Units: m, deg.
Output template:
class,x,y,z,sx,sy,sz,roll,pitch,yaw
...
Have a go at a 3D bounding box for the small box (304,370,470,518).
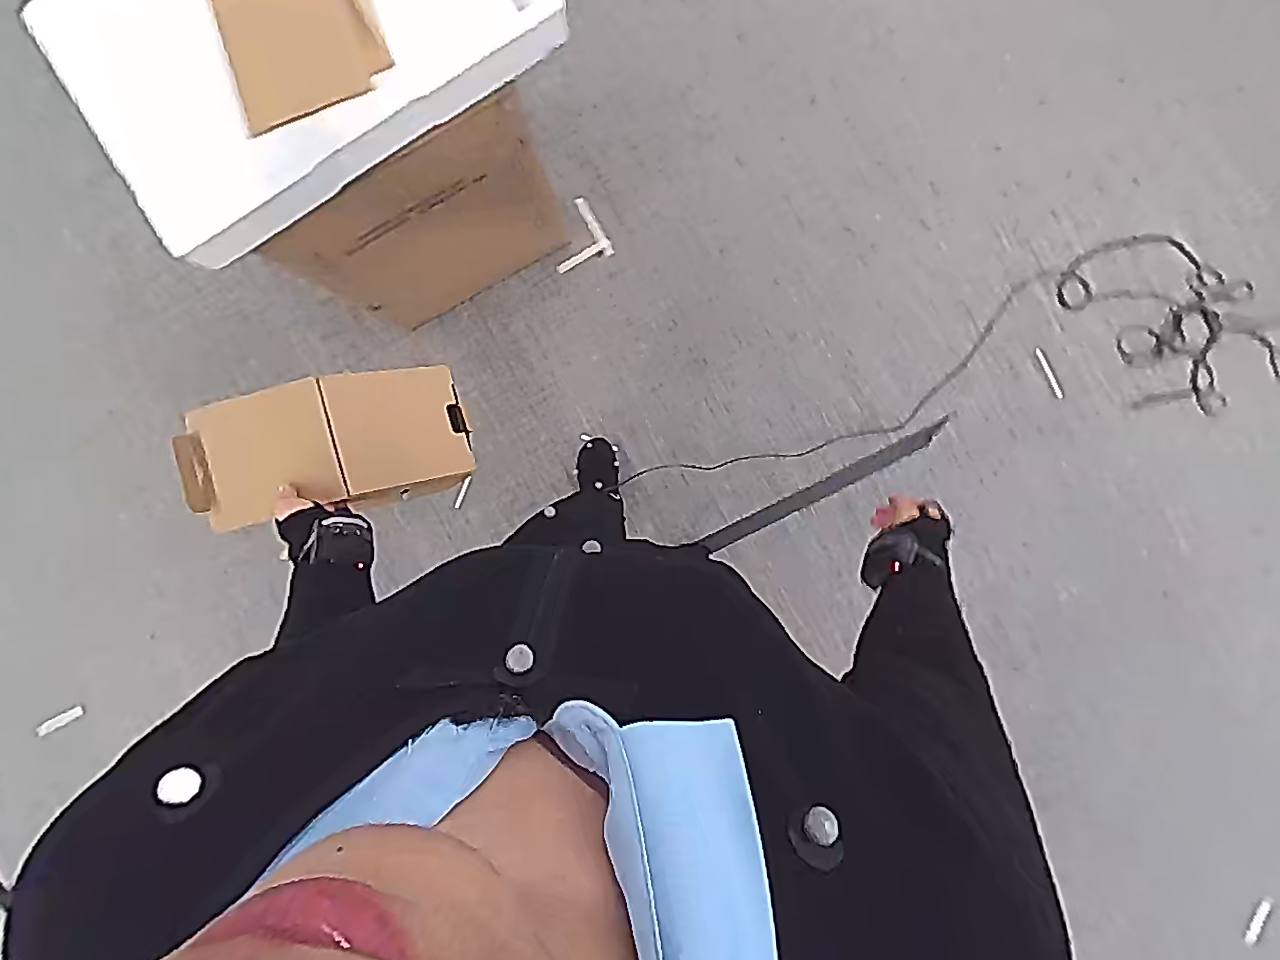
class,x,y,z,sx,sy,sz,roll,pitch,yaw
small box,-0.379,-0.049,0.799,0.179,0.176,0.168,-15,87,-36
